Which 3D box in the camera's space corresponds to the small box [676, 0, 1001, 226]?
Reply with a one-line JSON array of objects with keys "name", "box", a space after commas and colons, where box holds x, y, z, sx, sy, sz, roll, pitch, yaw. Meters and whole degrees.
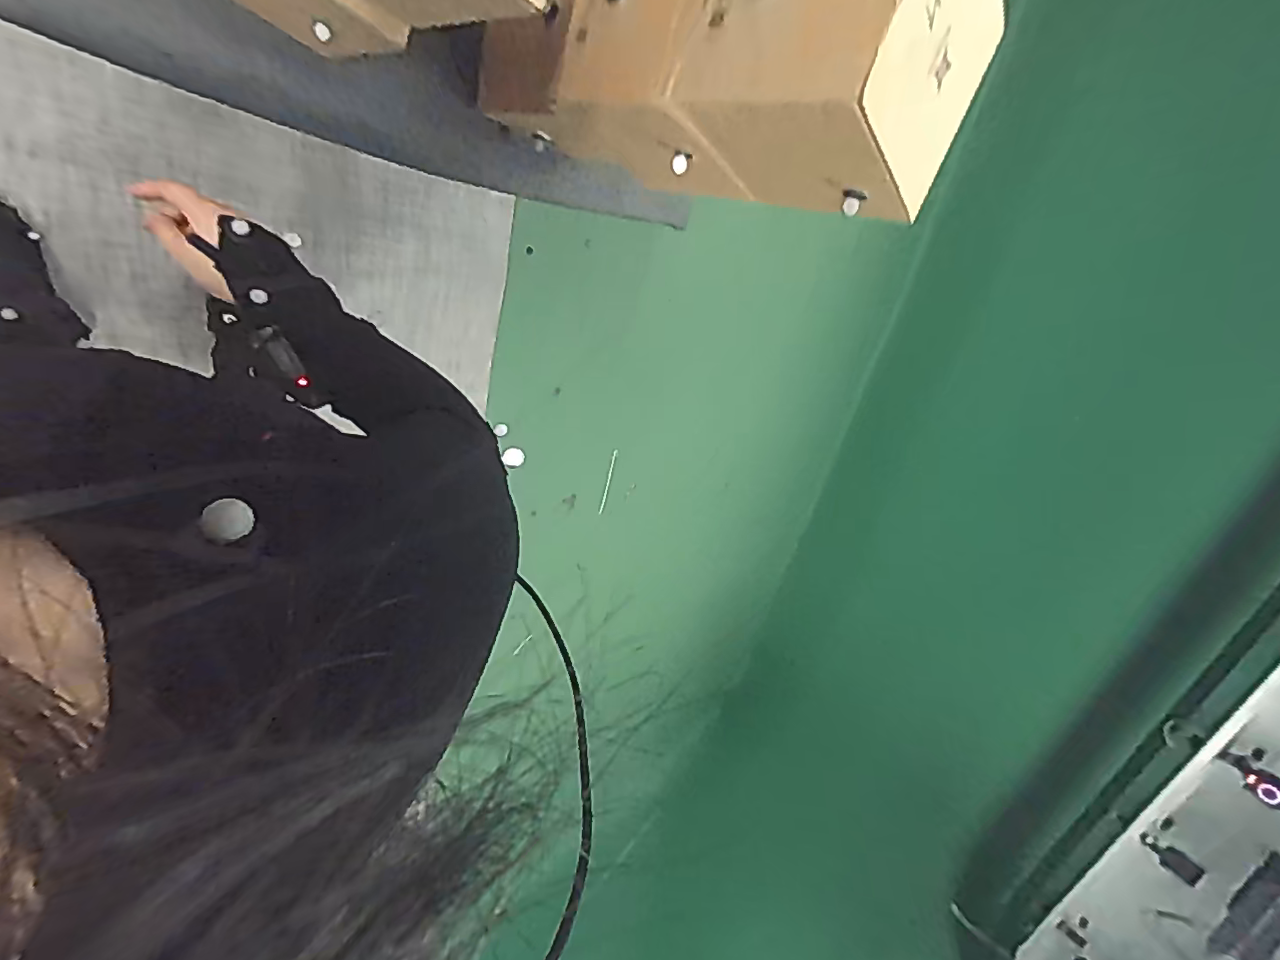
[{"name": "small box", "box": [0.162, -0.341, 0.448, 0.179, 0.176, 0.168, 9, 107, -52]}]

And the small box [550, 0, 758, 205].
[{"name": "small box", "box": [0.044, -0.407, 0.541, 0.179, 0.176, 0.168, 7, 109, -51]}]

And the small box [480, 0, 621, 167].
[{"name": "small box", "box": [-0.067, -0.487, 0.630, 0.168, 0.176, 0.179, -9, 122, -47]}]

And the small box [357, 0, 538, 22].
[{"name": "small box", "box": [-0.160, -0.391, 0.297, 0.179, 0.176, 0.168, -9, 121, -48]}]
